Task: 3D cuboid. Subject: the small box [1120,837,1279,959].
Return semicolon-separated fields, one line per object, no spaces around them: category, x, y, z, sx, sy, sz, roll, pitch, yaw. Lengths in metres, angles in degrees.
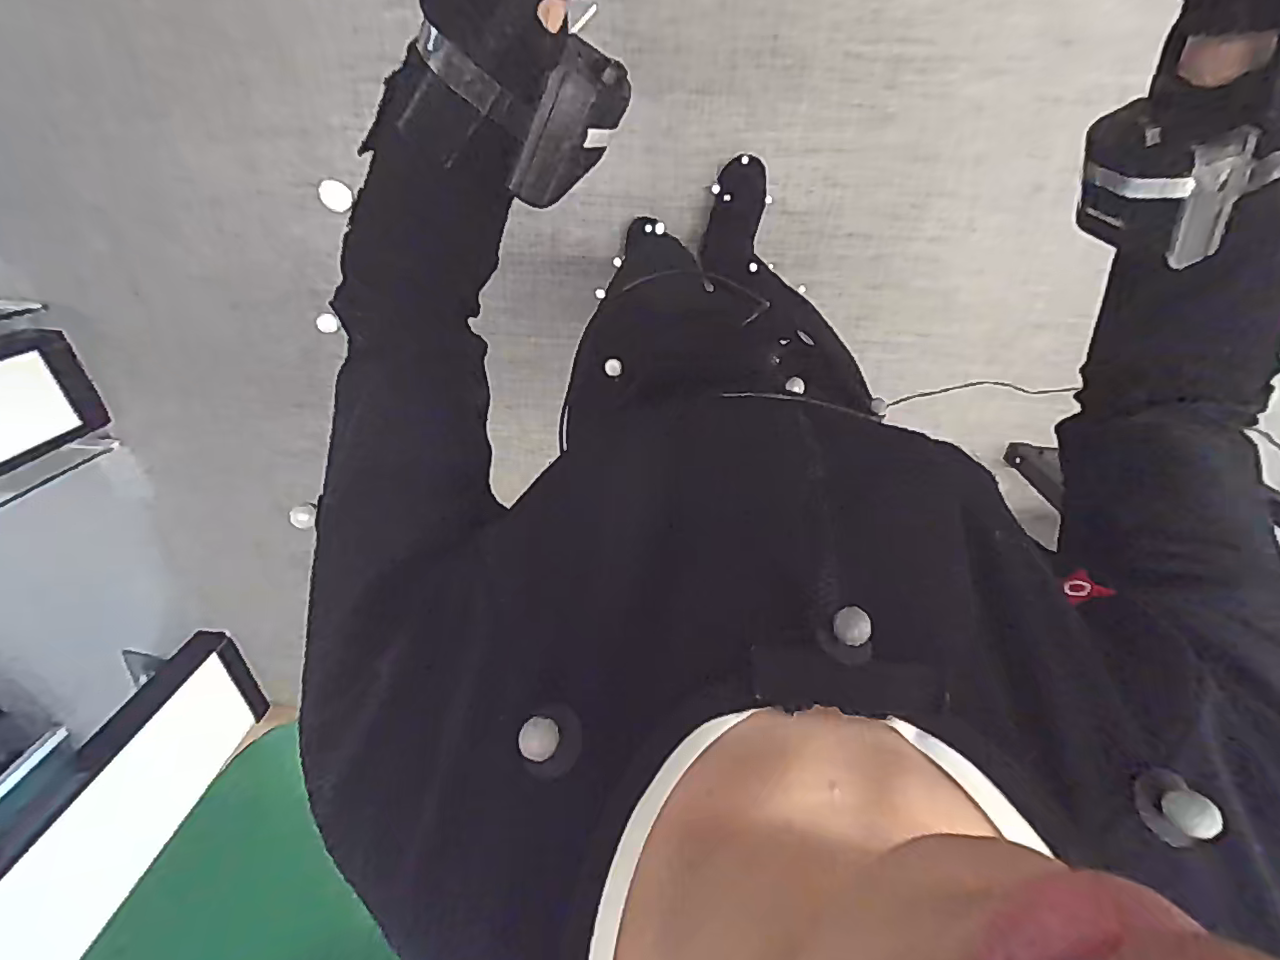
small box;1.126;0.838;1.067;0.179;0.176;0.168;9;121;1

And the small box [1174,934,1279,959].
small box;1.098;0.916;0.925;0.179;0.176;0.168;7;120;1
